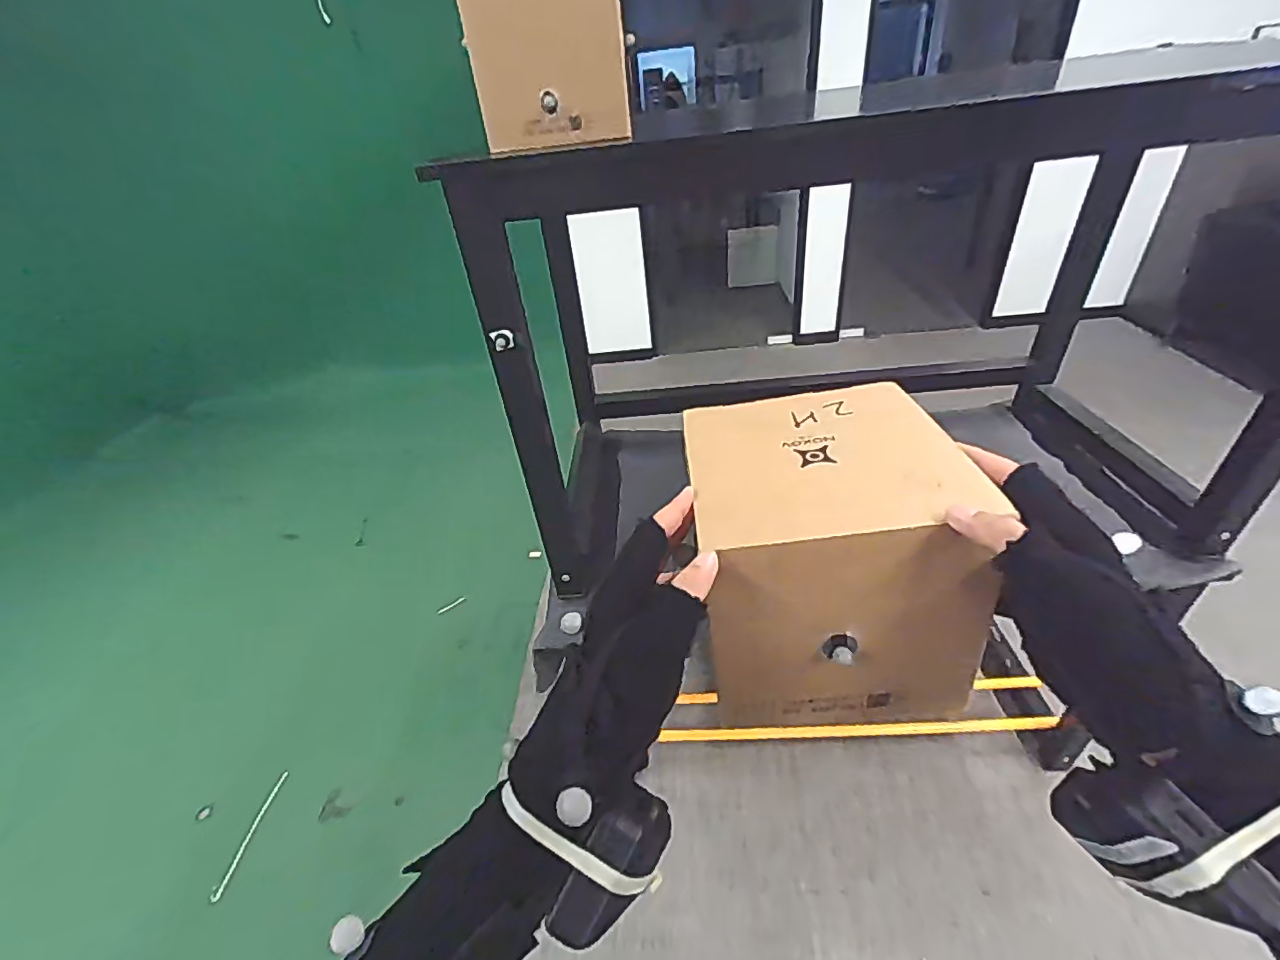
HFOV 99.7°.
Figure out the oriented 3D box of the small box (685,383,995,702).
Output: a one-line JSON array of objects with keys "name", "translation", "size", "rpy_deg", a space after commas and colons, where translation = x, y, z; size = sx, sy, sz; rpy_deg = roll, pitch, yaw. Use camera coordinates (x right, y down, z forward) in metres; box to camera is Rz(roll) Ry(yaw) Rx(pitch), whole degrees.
[{"name": "small box", "translation": [0.127, 0.047, 0.407], "size": [0.168, 0.176, 0.179], "rpy_deg": [-7, 32, 6]}]
